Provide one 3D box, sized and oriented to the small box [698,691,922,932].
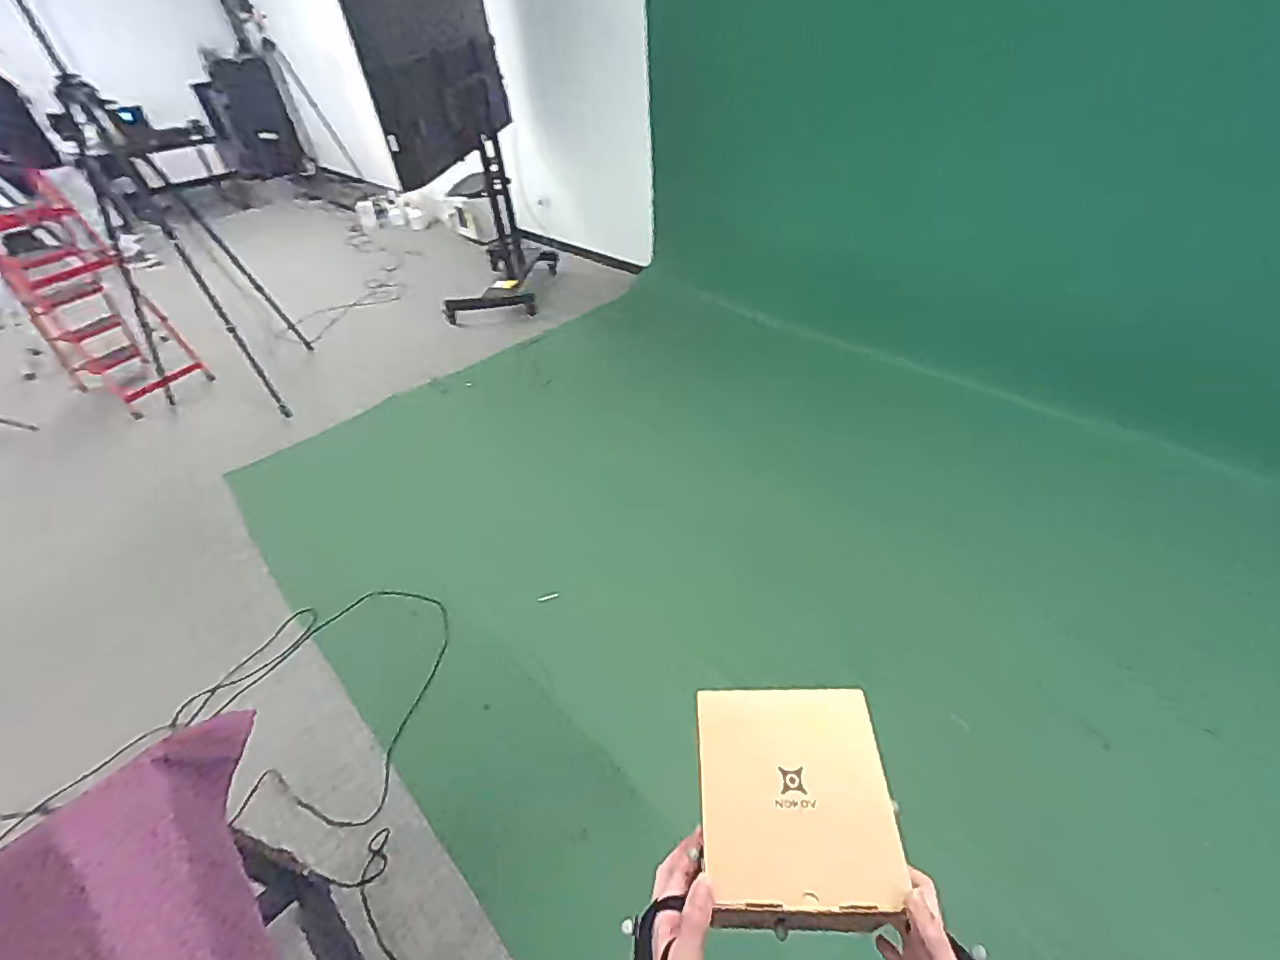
[{"bbox_3d":[0.145,0.330,0.538,0.168,0.176,0.179,-3,47,4],"label":"small box"}]
